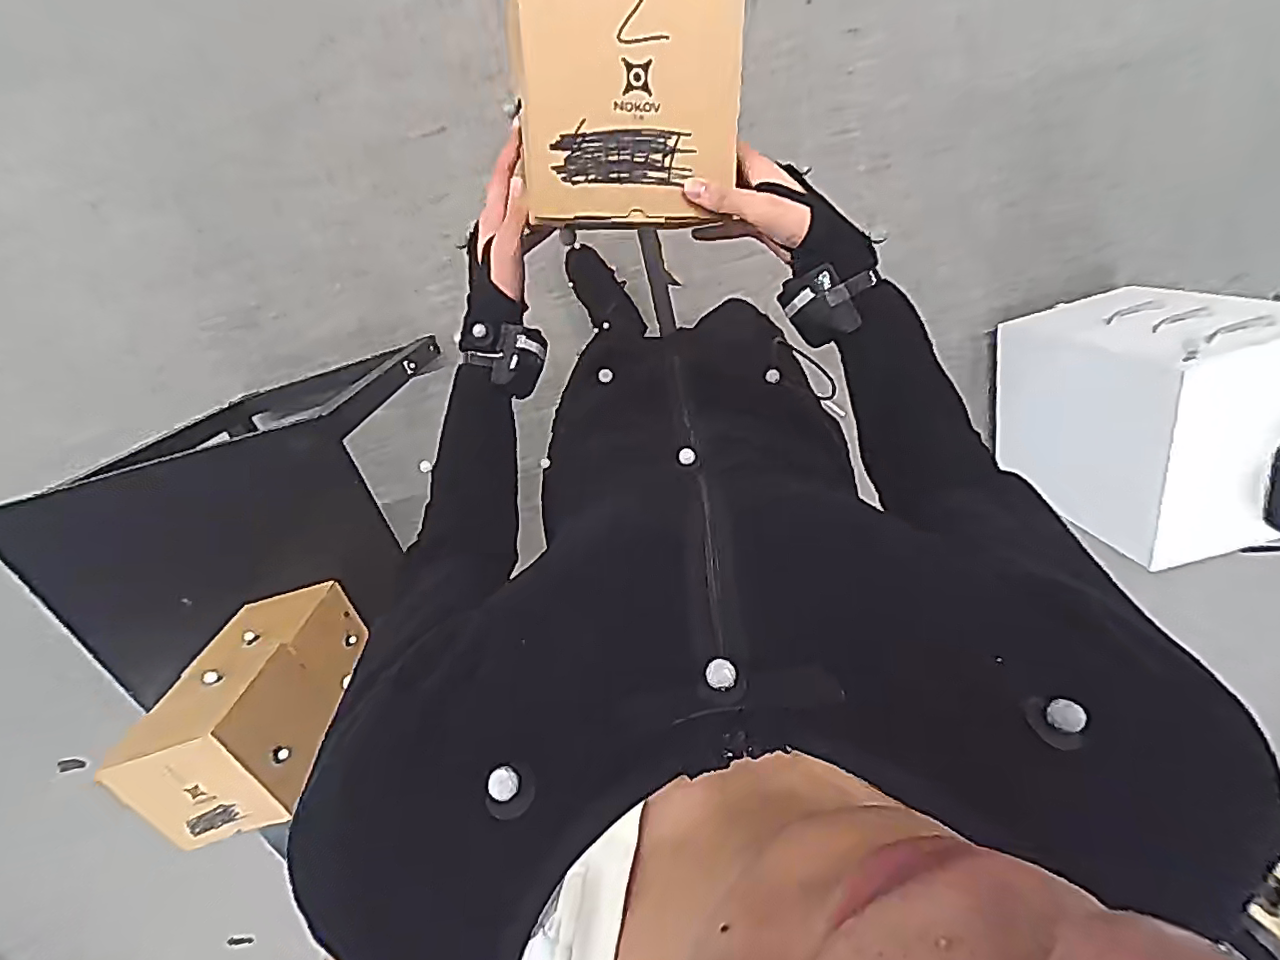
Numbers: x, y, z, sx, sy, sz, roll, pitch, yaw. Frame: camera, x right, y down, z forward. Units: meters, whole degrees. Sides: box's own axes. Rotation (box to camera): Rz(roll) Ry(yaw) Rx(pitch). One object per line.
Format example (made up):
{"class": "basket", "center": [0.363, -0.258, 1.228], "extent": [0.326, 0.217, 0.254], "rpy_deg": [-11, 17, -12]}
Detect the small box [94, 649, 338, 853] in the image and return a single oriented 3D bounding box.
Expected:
{"class": "small box", "center": [-0.571, 0.374, 0.762], "extent": [0.168, 0.176, 0.179], "rpy_deg": [-19, 114, 3]}

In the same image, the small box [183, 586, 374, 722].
{"class": "small box", "center": [-0.590, 0.307, 0.911], "extent": [0.179, 0.176, 0.168], "rpy_deg": [-16, 115, 2]}
